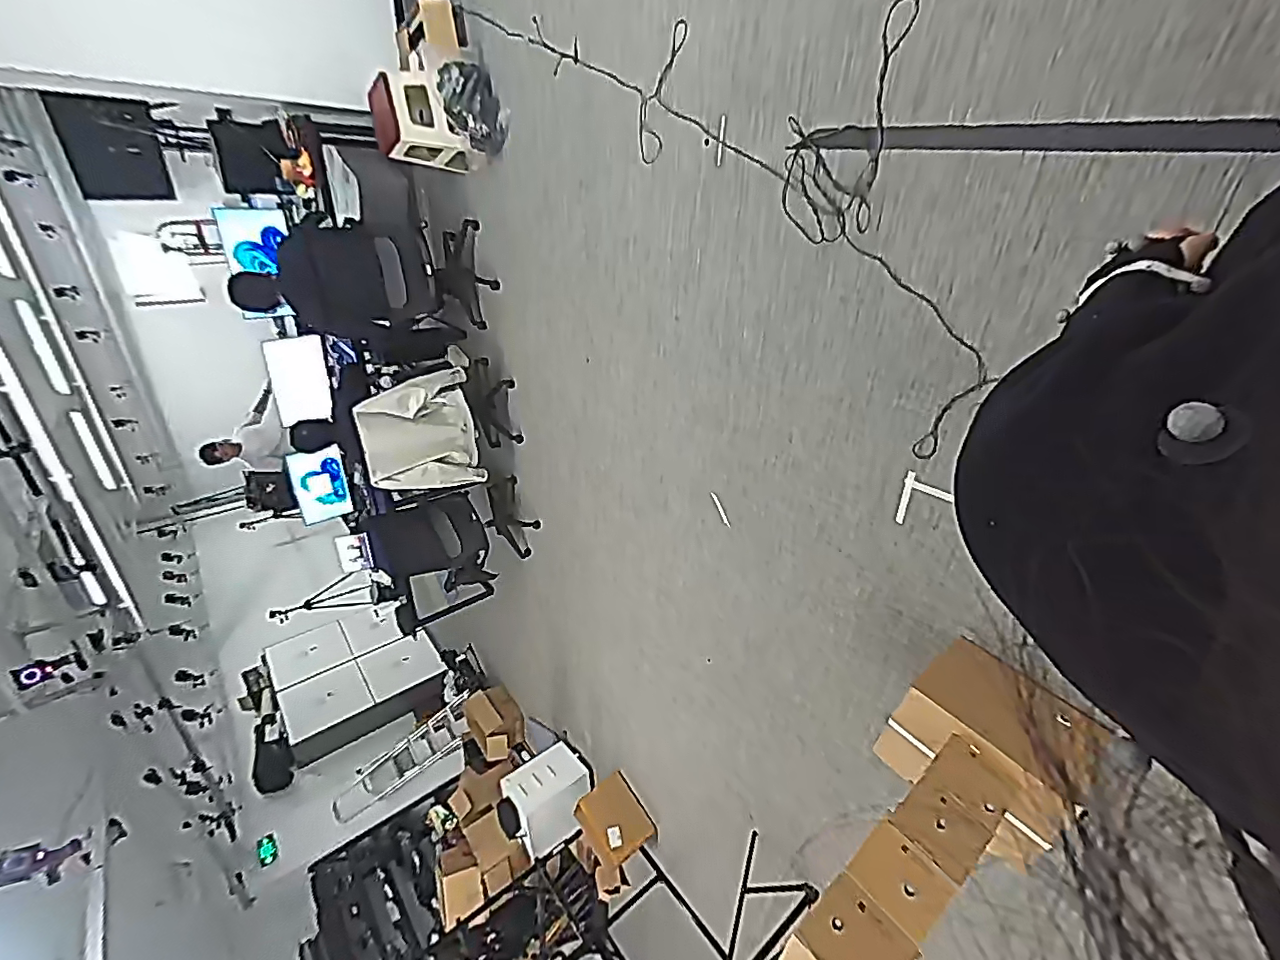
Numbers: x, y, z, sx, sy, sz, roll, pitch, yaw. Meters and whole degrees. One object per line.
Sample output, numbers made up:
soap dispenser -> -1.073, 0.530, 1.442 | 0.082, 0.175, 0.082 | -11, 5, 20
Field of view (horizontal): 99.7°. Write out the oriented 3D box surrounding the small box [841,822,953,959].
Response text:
small box -> 0.516, 0.864, 1.122 | 0.168, 0.176, 0.179 | 34, 132, 39

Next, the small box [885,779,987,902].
small box -> 0.642, 0.822, 1.215 | 0.168, 0.176, 0.179 | 37, 133, 38

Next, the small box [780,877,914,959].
small box -> 0.391, 0.915, 1.031 | 0.168, 0.176, 0.179 | 35, 134, 41
